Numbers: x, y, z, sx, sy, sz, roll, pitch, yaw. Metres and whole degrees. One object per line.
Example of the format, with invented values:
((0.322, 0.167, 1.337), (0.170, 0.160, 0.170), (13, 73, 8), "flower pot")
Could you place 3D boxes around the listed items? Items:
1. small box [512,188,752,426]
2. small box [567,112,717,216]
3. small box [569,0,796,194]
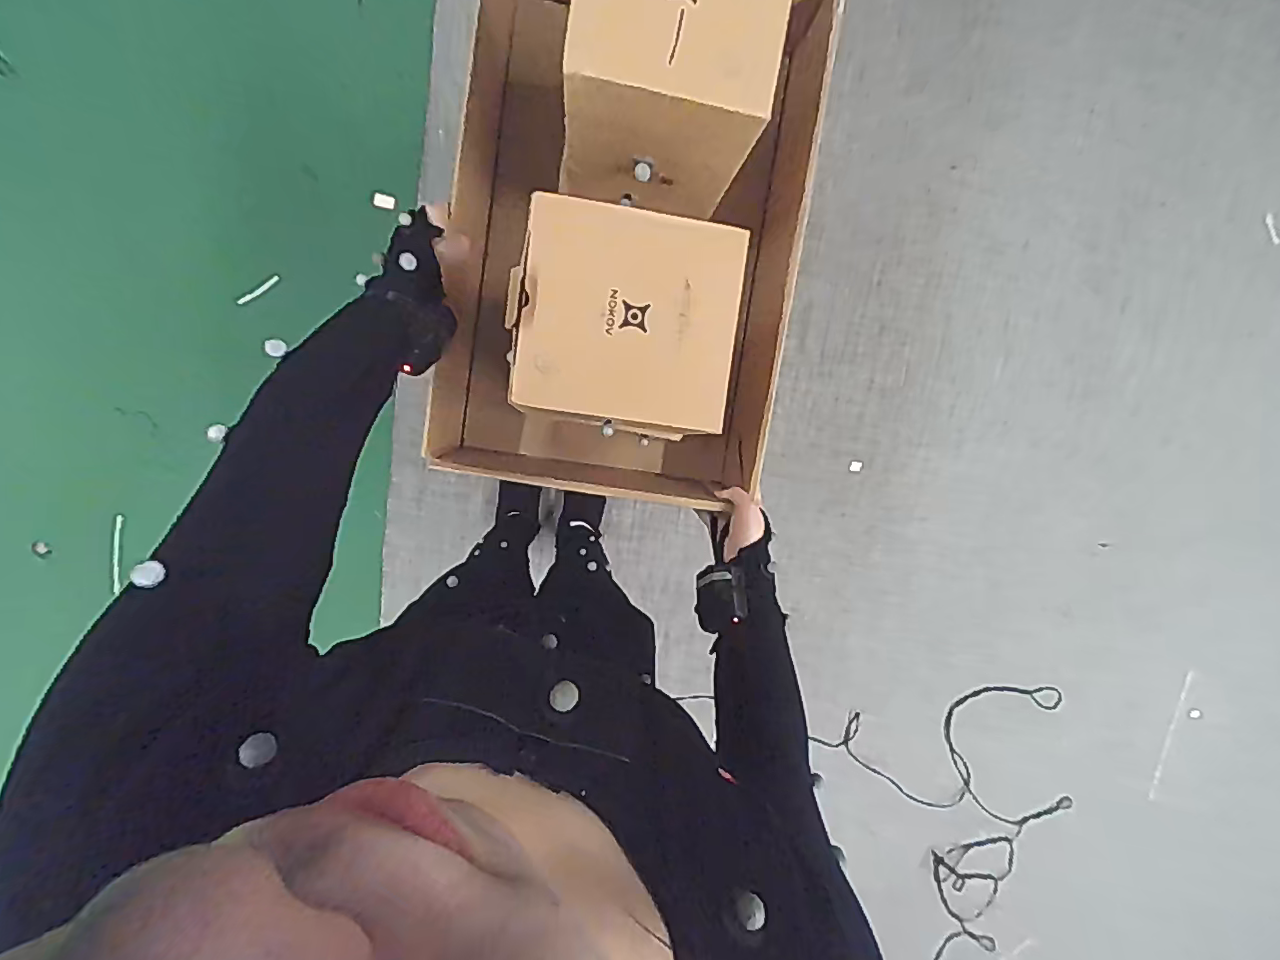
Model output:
((-0.013, -0.142, 0.510), (0.179, 0.176, 0.168), (7, 95, -7), "small box")
((0.016, -0.416, 0.645), (0.179, 0.176, 0.168), (10, 96, -6), "small box")
((0.032, -0.391, 0.483), (0.168, 0.176, 0.179), (9, 97, -7), "small box")
